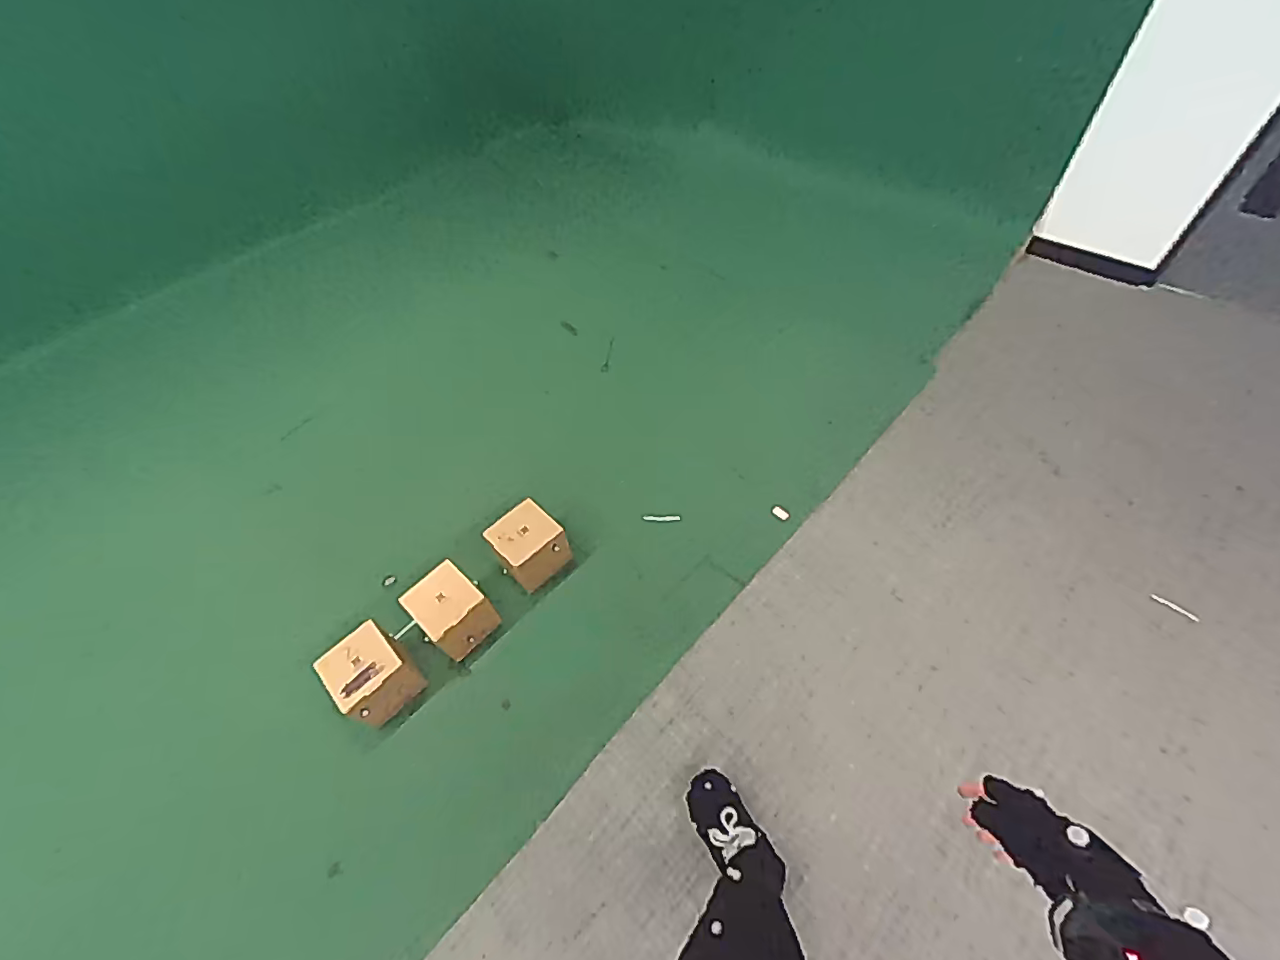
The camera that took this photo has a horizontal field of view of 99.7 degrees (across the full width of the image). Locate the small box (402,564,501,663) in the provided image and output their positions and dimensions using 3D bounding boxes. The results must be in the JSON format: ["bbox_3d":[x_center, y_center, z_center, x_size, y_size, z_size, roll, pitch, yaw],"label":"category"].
[{"bbox_3d":[-0.516,0.374,1.499,0.179,0.176,0.168,35,63,26],"label":"small box"}]

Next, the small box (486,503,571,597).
[{"bbox_3d":[-0.322,0.209,1.603,0.179,0.176,0.168,-39,59,-23],"label":"small box"}]
